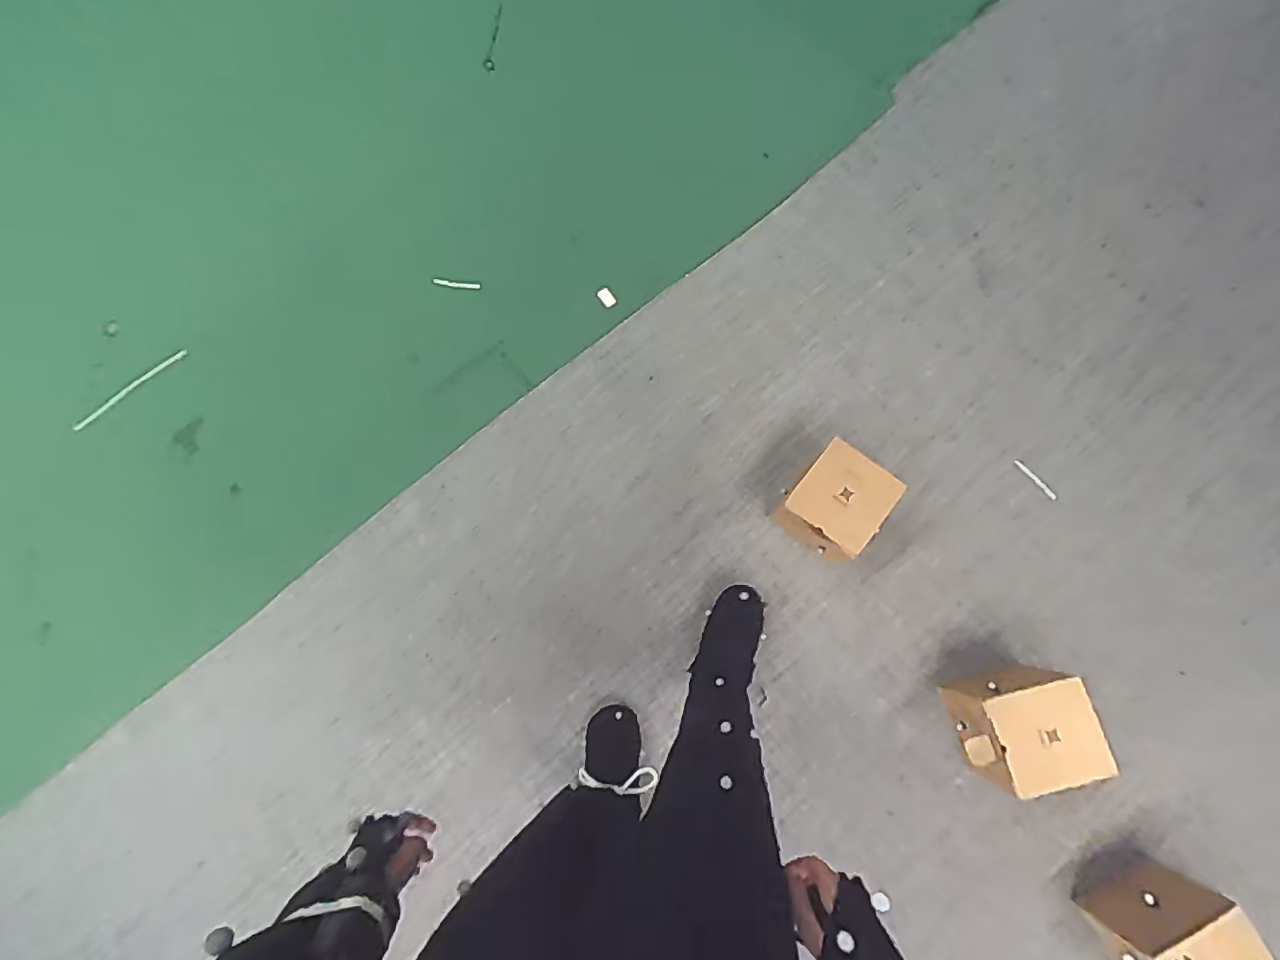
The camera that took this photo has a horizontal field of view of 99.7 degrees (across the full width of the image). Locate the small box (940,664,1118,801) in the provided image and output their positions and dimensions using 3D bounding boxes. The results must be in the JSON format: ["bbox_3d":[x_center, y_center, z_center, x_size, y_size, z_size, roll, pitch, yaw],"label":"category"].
[{"bbox_3d":[0.695,0.448,0.988,0.179,0.176,0.168,-15,78,0],"label":"small box"}]

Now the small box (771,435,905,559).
[{"bbox_3d":[0.383,0.044,1.086,0.168,0.176,0.179,37,81,8],"label":"small box"}]
